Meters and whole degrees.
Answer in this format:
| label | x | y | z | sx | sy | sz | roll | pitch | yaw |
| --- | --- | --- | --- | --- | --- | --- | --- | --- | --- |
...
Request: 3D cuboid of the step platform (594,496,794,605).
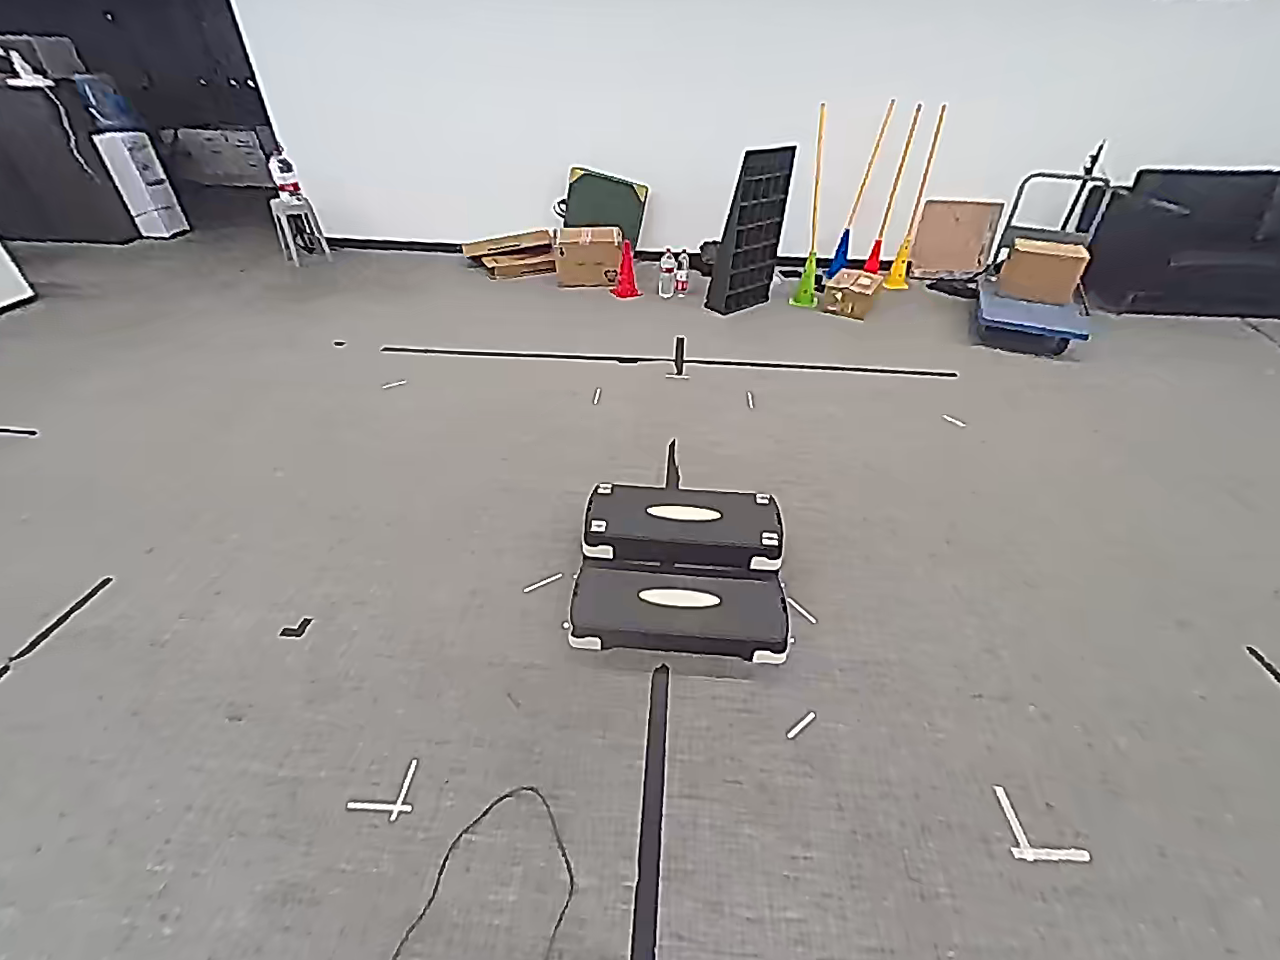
| label | x | y | z | sx | sy | sz | roll | pitch | yaw |
| --- | --- | --- | --- | --- | --- | --- | --- | --- | --- |
| step platform | 0.185 | 0.237 | 1.893 | 0.684 | 0.204 | 0.286 | 6 | 37 | 6 |
